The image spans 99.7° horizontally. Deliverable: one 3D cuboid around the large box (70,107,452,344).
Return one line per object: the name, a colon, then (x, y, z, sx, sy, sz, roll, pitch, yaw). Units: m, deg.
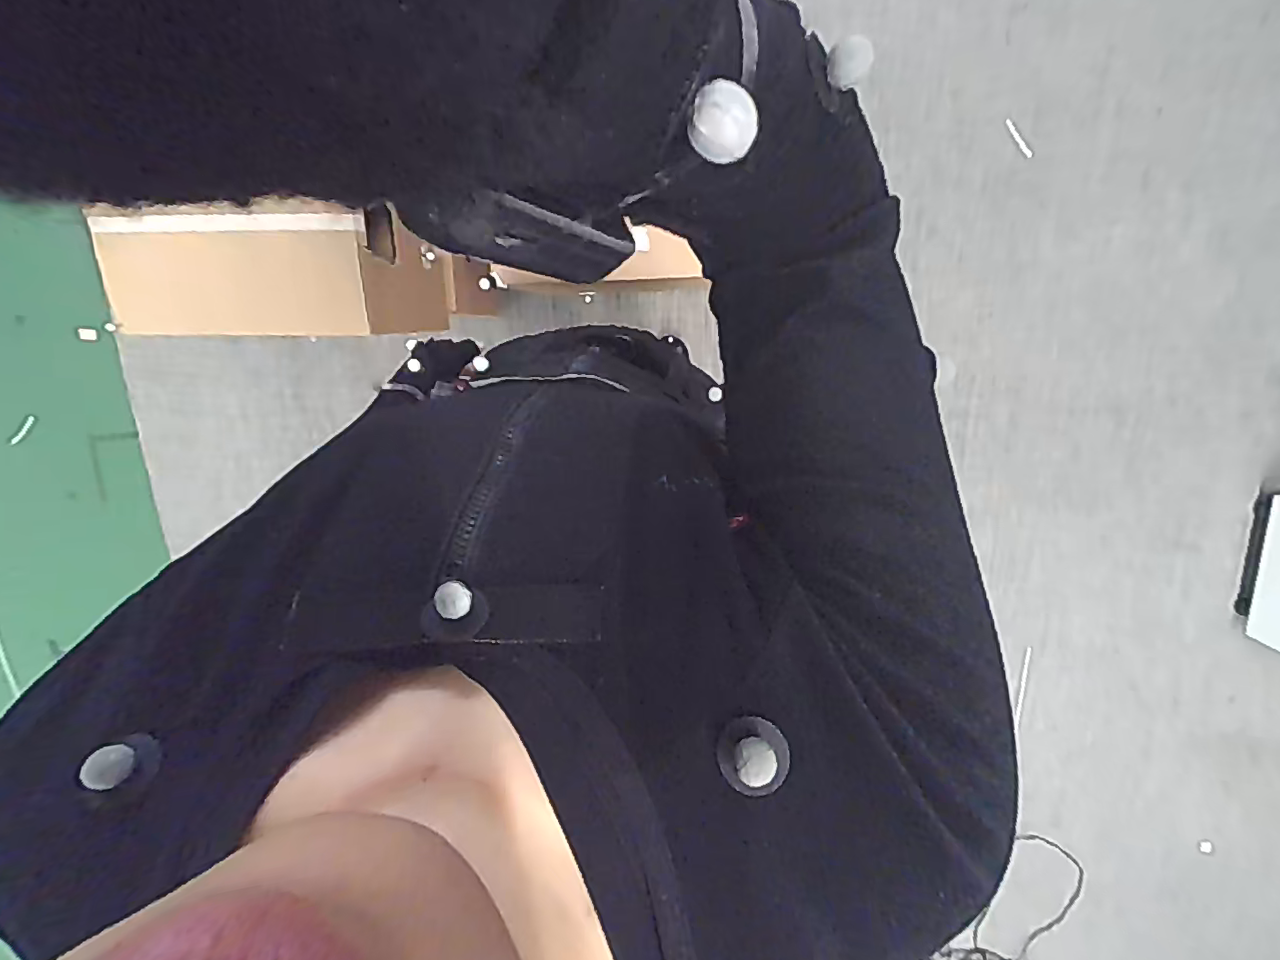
large box: (-0.589, -0.403, 0.928, 0.408, 0.320, 0.320, 1, 106, 3)
